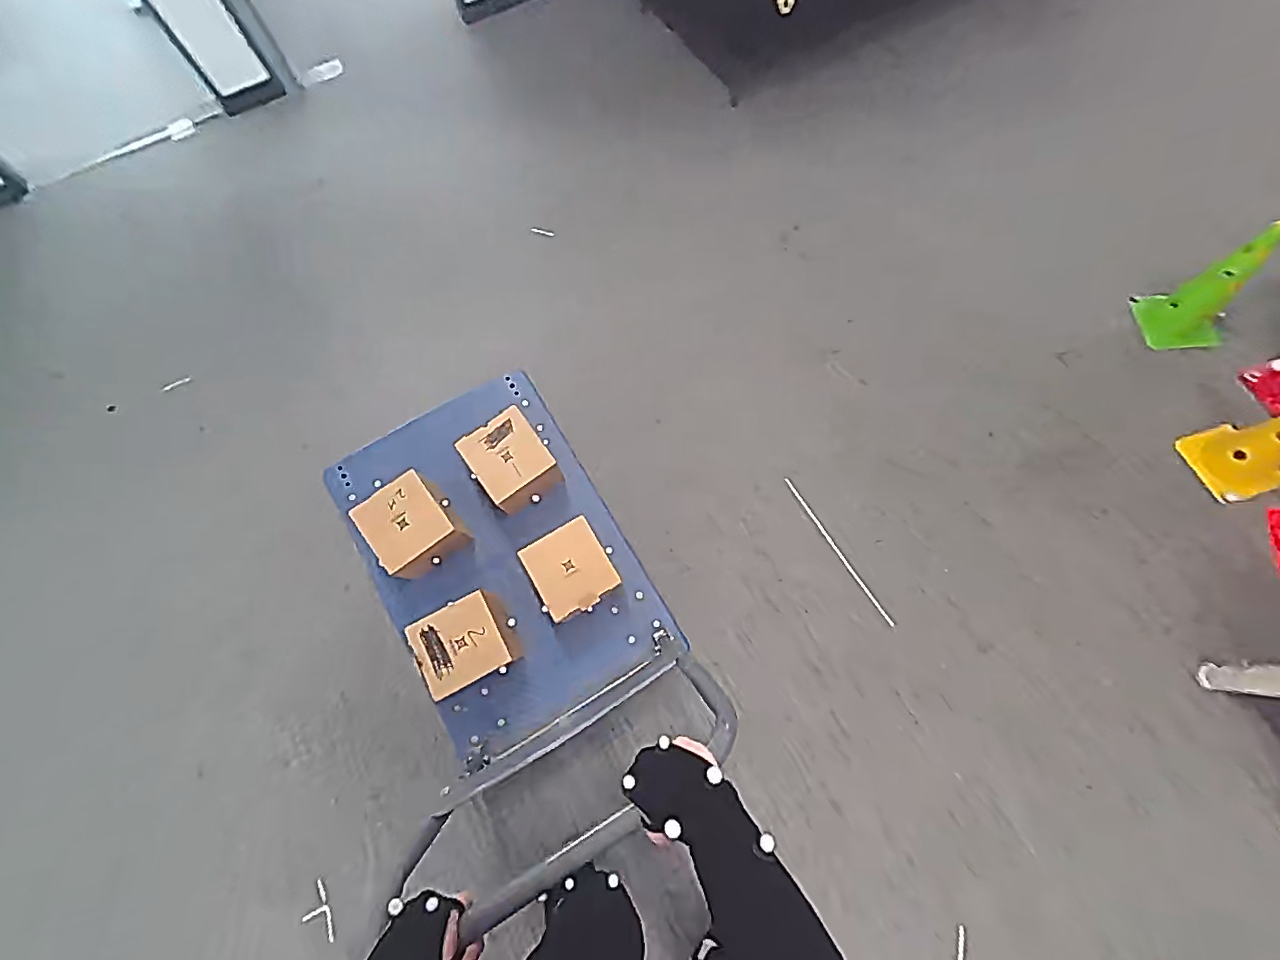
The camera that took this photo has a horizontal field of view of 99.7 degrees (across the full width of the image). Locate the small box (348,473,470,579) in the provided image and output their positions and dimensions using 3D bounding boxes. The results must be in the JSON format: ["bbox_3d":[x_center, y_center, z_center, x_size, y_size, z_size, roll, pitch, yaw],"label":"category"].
[{"bbox_3d":[-0.523,0.114,1.250,0.168,0.176,0.179,-37,80,-10],"label":"small box"}]

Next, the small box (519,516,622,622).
[{"bbox_3d":[-0.155,0.209,1.241,0.168,0.176,0.179,-31,80,-8],"label":"small box"}]

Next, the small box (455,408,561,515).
[{"bbox_3d":[-0.308,-0.037,1.294,0.168,0.176,0.179,-36,81,-9],"label":"small box"}]
